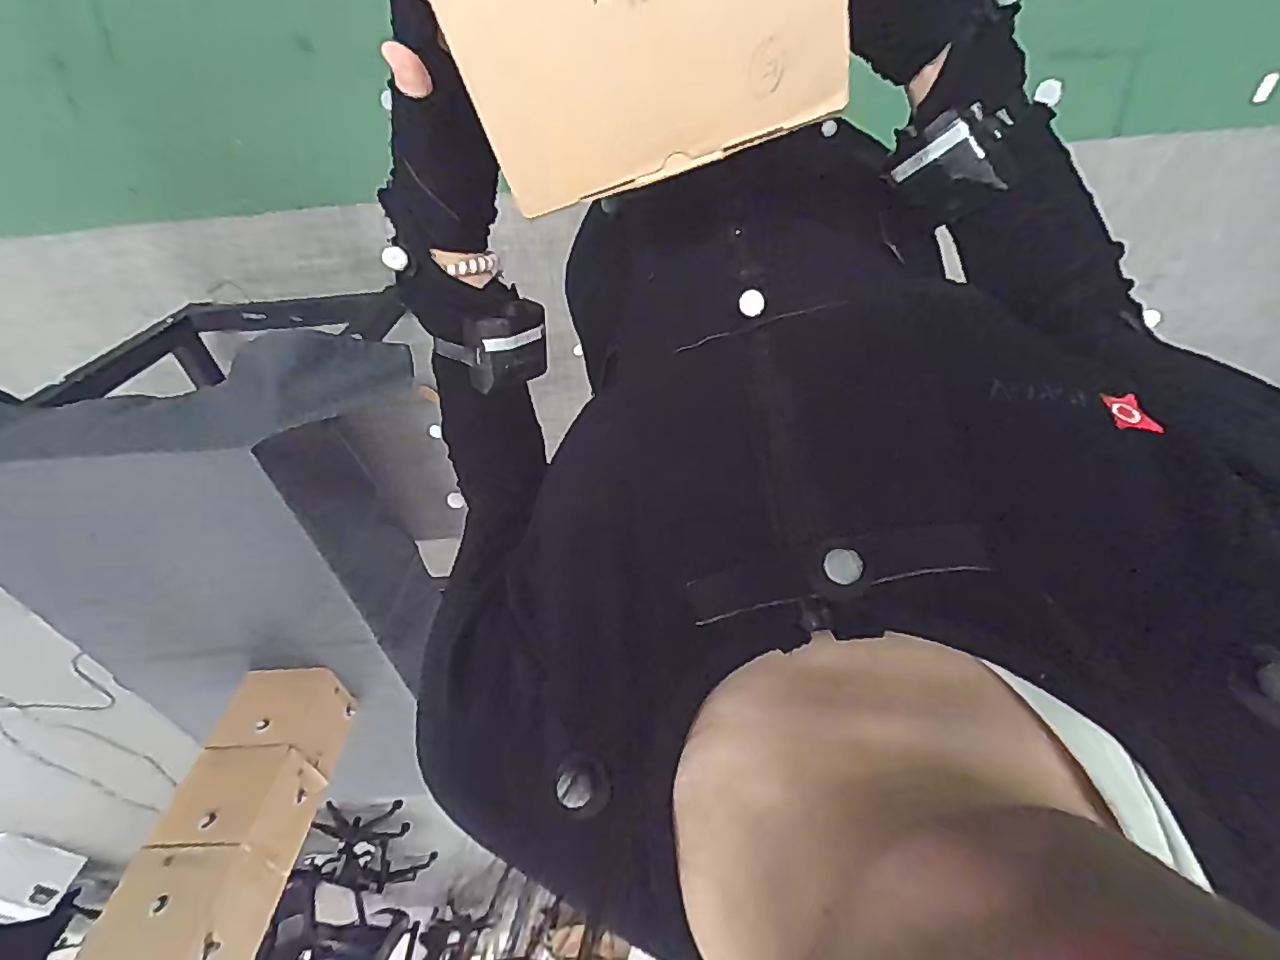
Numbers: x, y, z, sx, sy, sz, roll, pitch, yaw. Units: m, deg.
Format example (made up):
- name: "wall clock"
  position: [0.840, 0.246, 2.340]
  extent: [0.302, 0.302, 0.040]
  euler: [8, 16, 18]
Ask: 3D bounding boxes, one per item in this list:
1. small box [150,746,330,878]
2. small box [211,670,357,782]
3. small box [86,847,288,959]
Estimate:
- name: "small box"
  position: [-0.723, 0.614, 1.003]
  extent: [0.179, 0.176, 0.168]
  euler: [-4, 128, 3]
- name: "small box"
  position: [-0.724, 0.515, 1.131]
  extent: [0.179, 0.176, 0.168]
  euler: [-4, 128, 4]
- name: "small box"
  position: [-0.720, 0.714, 0.872]
  extent: [0.168, 0.176, 0.179]
  euler: [-3, 128, 2]
